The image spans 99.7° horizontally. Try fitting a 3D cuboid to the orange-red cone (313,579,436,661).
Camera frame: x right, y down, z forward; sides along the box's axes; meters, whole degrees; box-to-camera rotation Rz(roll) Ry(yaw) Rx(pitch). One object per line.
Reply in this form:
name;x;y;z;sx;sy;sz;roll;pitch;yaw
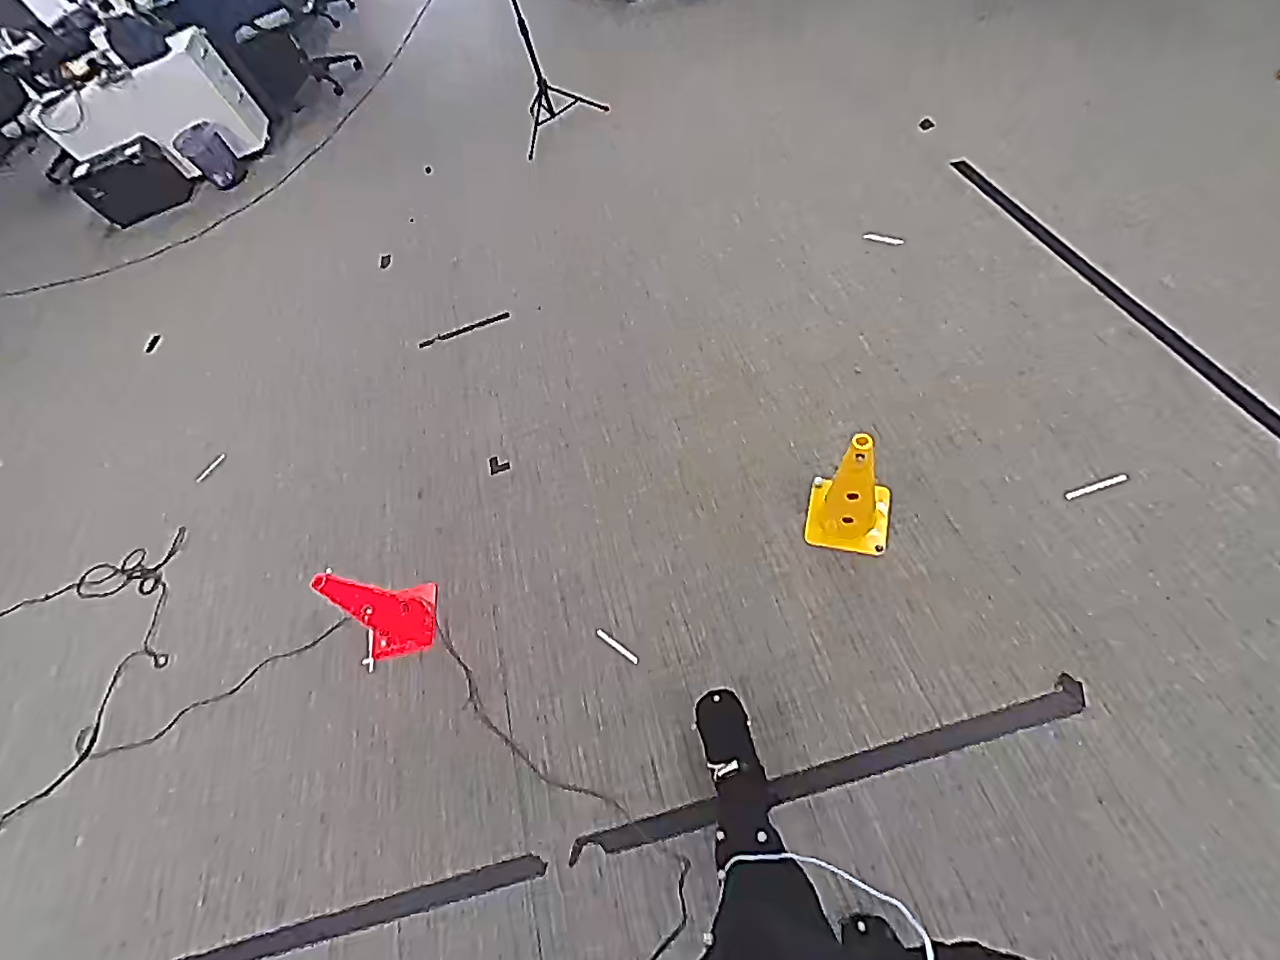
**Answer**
orange-red cone;-0.735;0.341;1.453;0.199;0.360;0.198;-13;58;6
